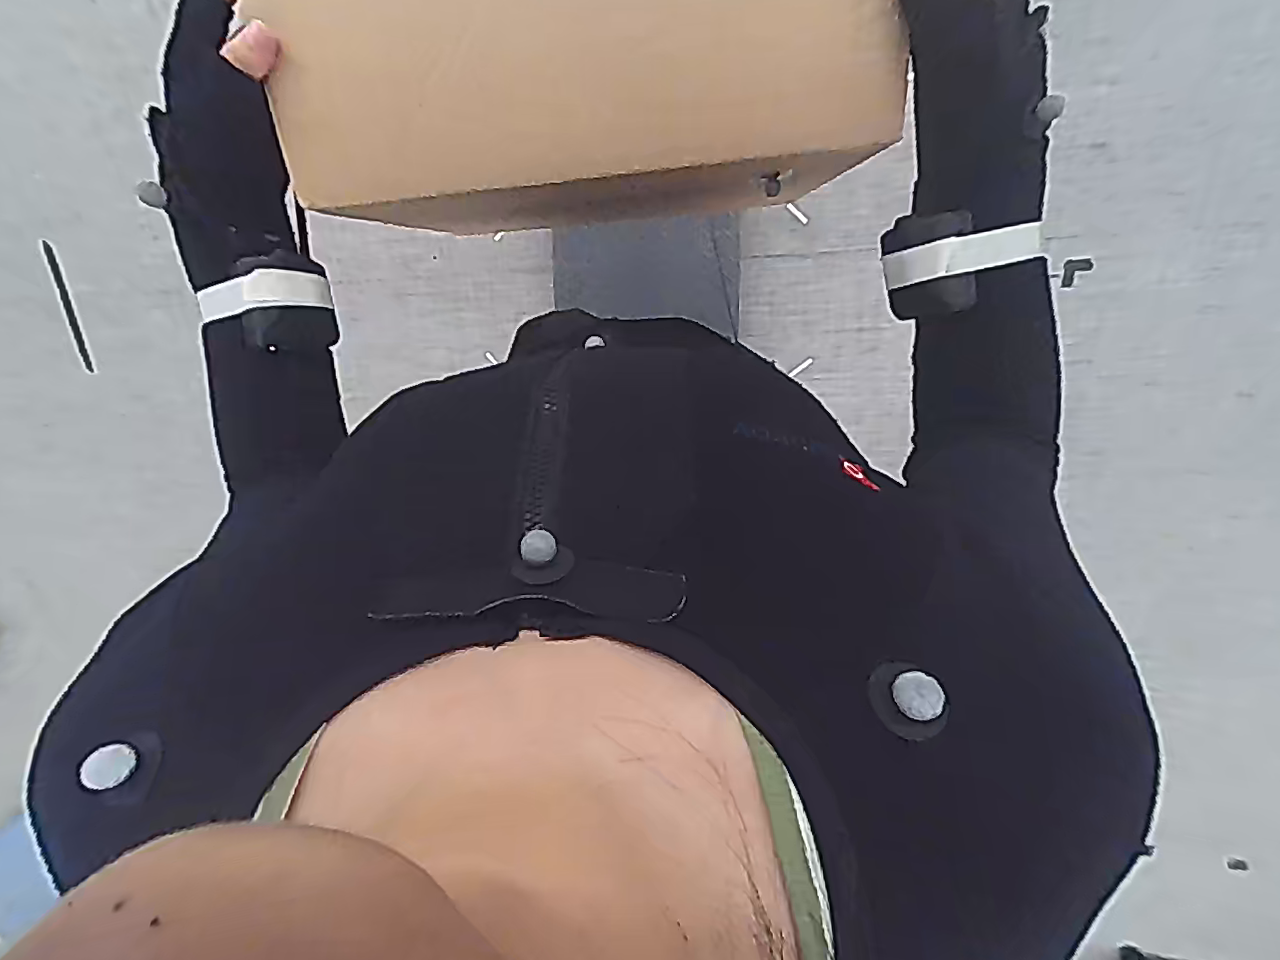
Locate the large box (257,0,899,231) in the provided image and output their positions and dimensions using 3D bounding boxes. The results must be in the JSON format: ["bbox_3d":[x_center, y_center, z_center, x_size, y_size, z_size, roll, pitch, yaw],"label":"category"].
[{"bbox_3d":[-0.040,-0.403,0.453,0.408,0.320,0.320,-4,111,4],"label":"large box"}]
